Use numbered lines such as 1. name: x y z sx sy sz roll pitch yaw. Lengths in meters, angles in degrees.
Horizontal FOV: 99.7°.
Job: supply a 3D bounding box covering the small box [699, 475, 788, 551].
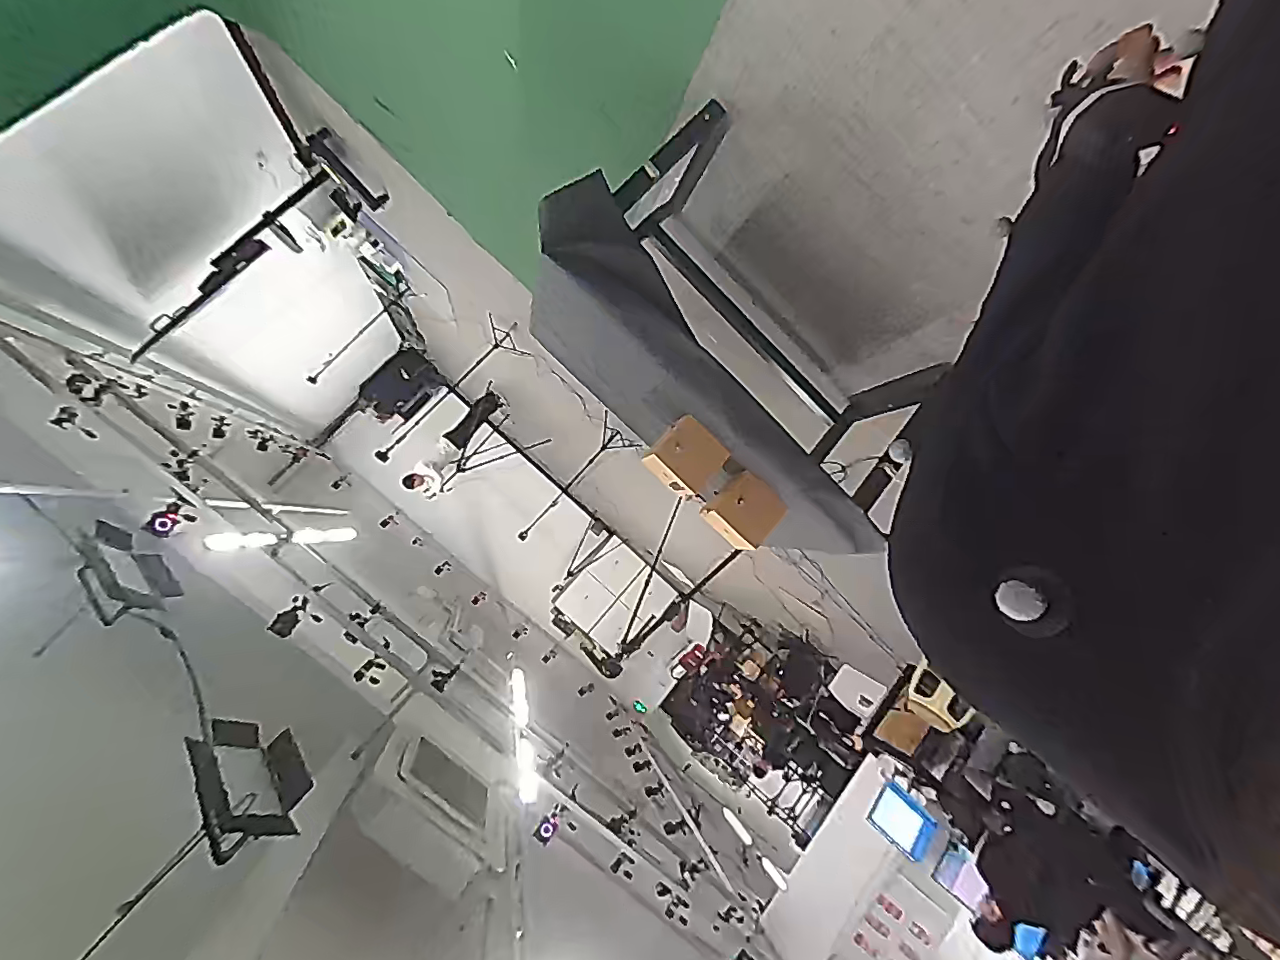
1. small box: 0.317 0.099 1.666 0.179 0.176 0.168 42 168 -4
